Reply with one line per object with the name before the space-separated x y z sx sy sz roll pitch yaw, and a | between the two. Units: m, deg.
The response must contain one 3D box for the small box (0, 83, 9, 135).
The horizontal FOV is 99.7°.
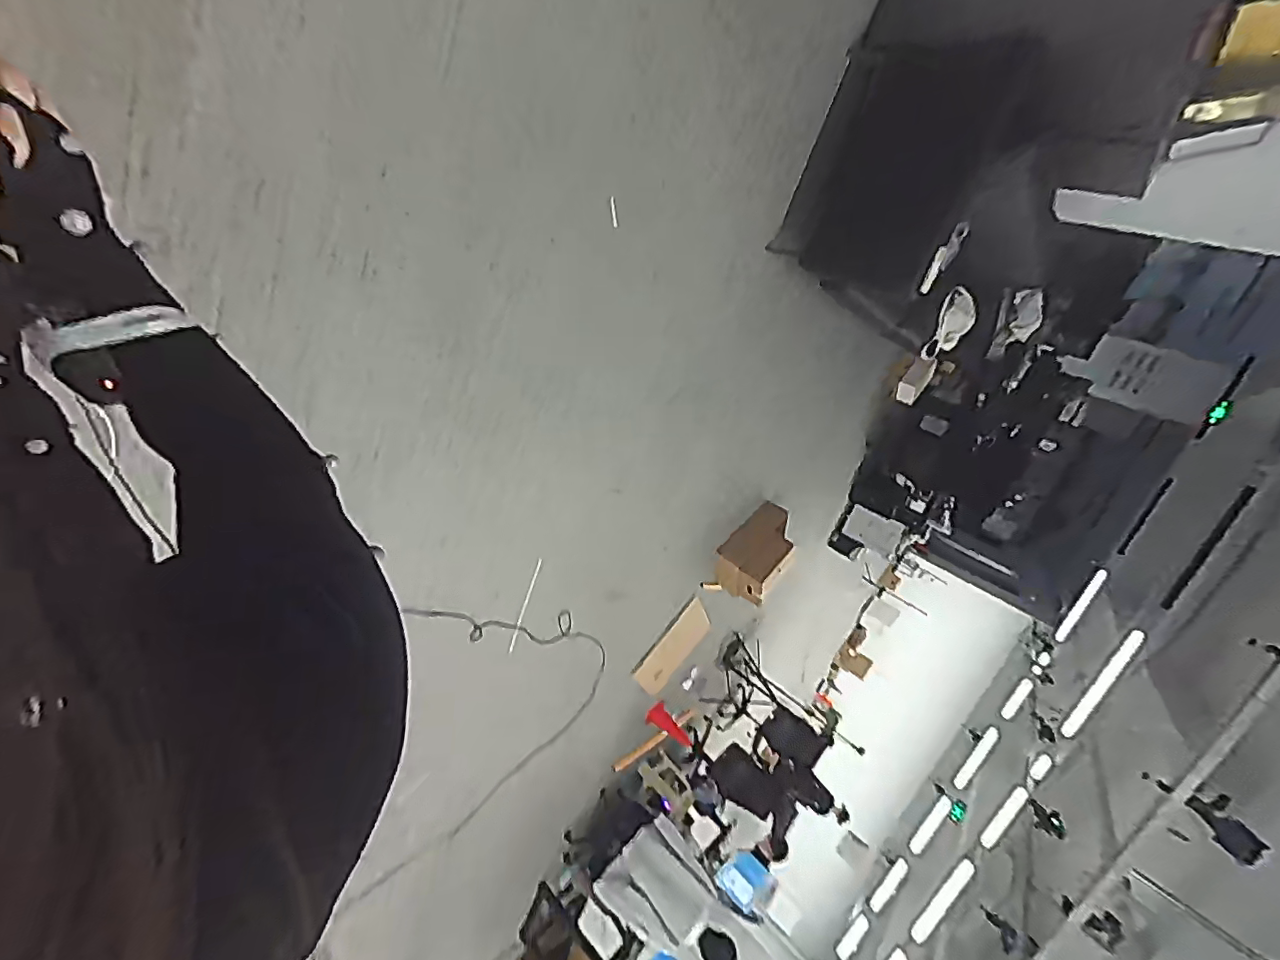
small box | -0.550 -0.244 0.333 0.168 0.176 0.179 -55 146 7
